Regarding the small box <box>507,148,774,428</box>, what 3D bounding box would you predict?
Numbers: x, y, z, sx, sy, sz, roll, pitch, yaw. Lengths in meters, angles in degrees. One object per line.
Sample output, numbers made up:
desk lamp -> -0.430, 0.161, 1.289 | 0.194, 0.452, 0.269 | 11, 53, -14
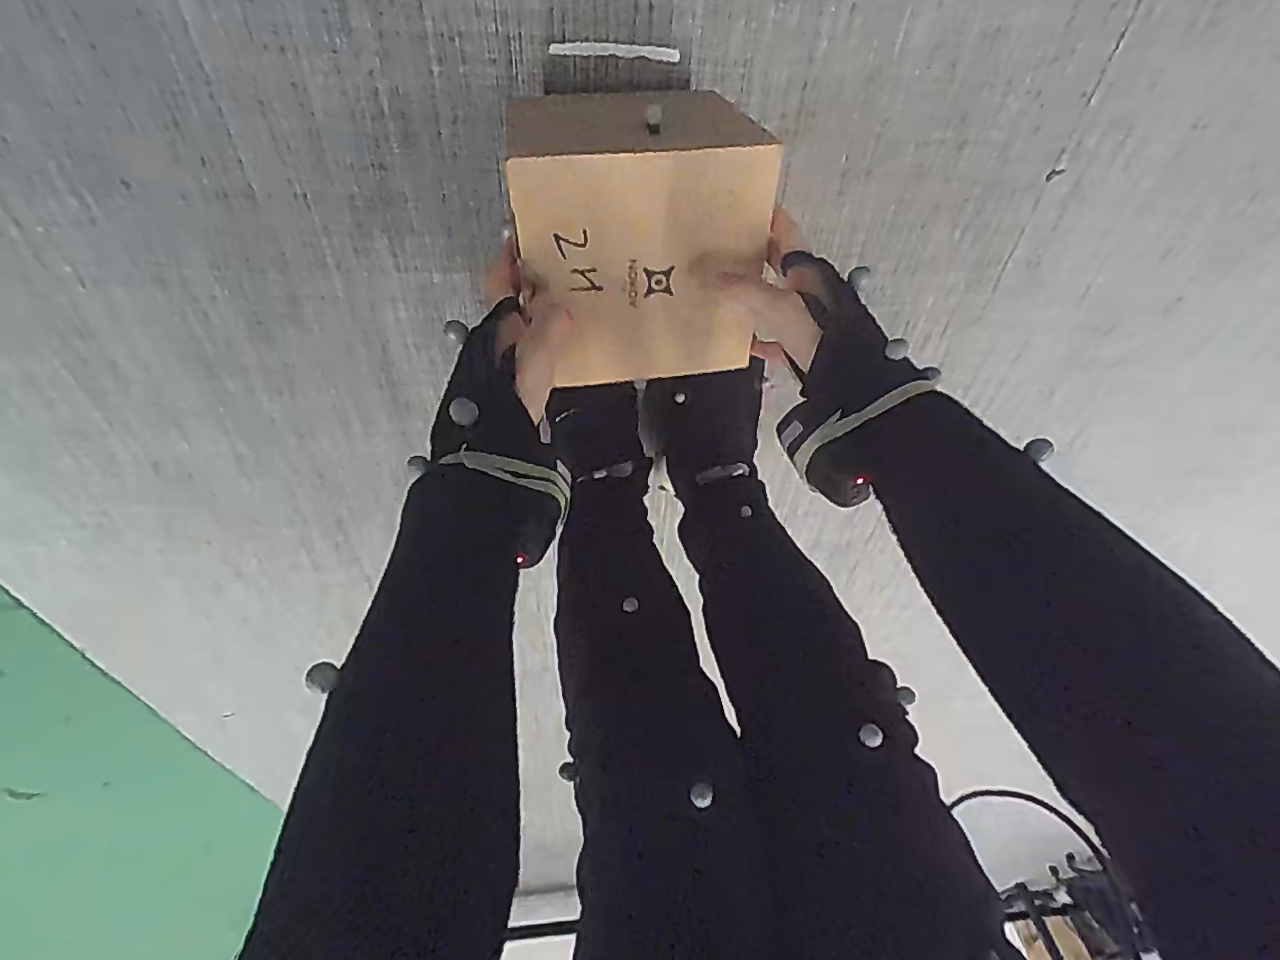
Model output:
small box -> -0.011, -0.166, 0.453 | 0.179, 0.176, 0.168 | -7, 132, -7
